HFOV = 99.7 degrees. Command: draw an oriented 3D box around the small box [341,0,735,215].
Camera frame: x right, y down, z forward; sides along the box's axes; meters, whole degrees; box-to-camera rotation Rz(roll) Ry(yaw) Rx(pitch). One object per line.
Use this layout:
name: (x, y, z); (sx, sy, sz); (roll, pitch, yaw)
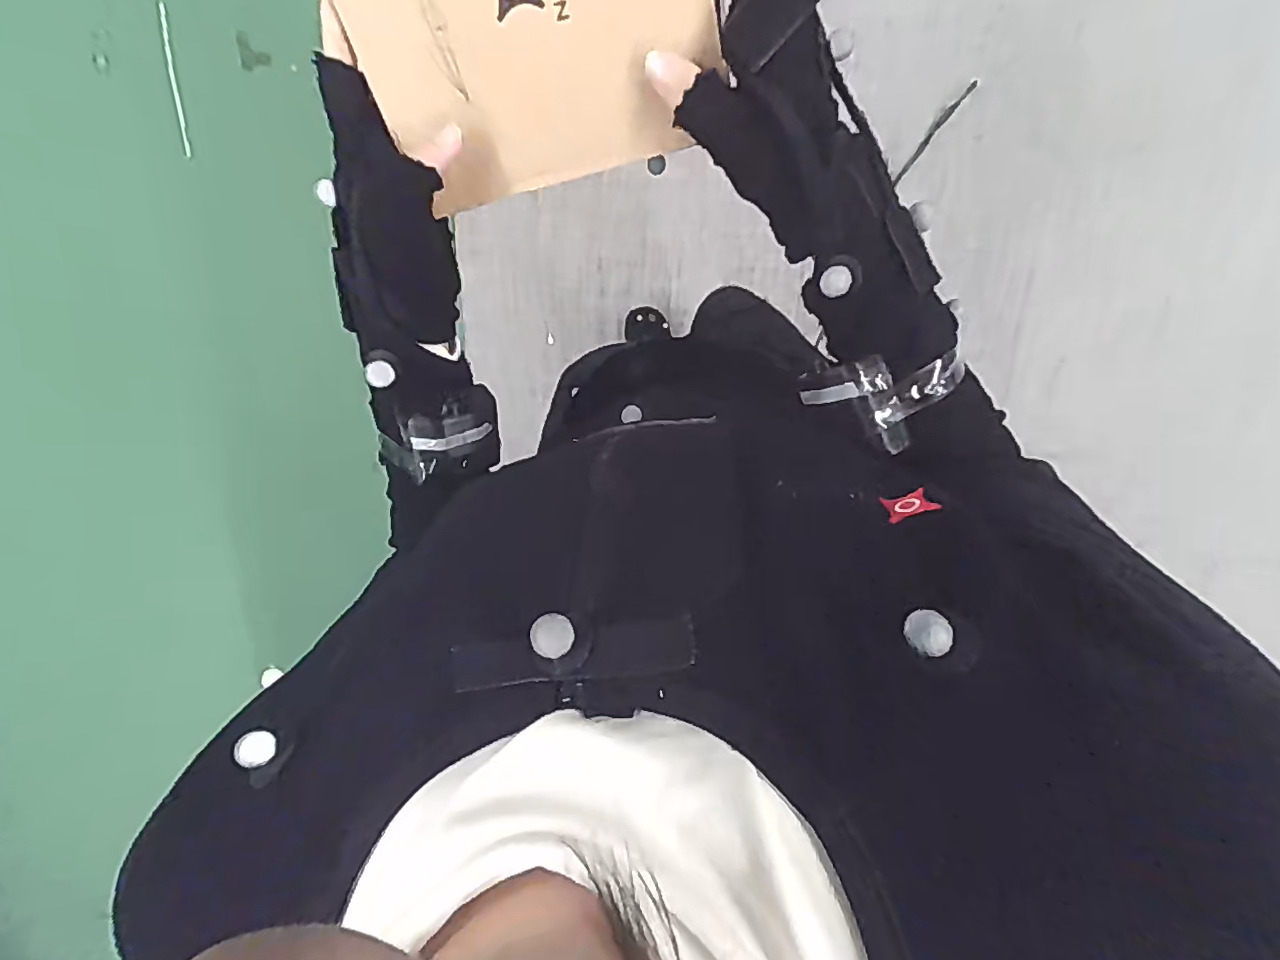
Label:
small box: (-0.051, -0.276, 0.314); (0.179, 0.176, 0.168); (-10, 124, 10)
